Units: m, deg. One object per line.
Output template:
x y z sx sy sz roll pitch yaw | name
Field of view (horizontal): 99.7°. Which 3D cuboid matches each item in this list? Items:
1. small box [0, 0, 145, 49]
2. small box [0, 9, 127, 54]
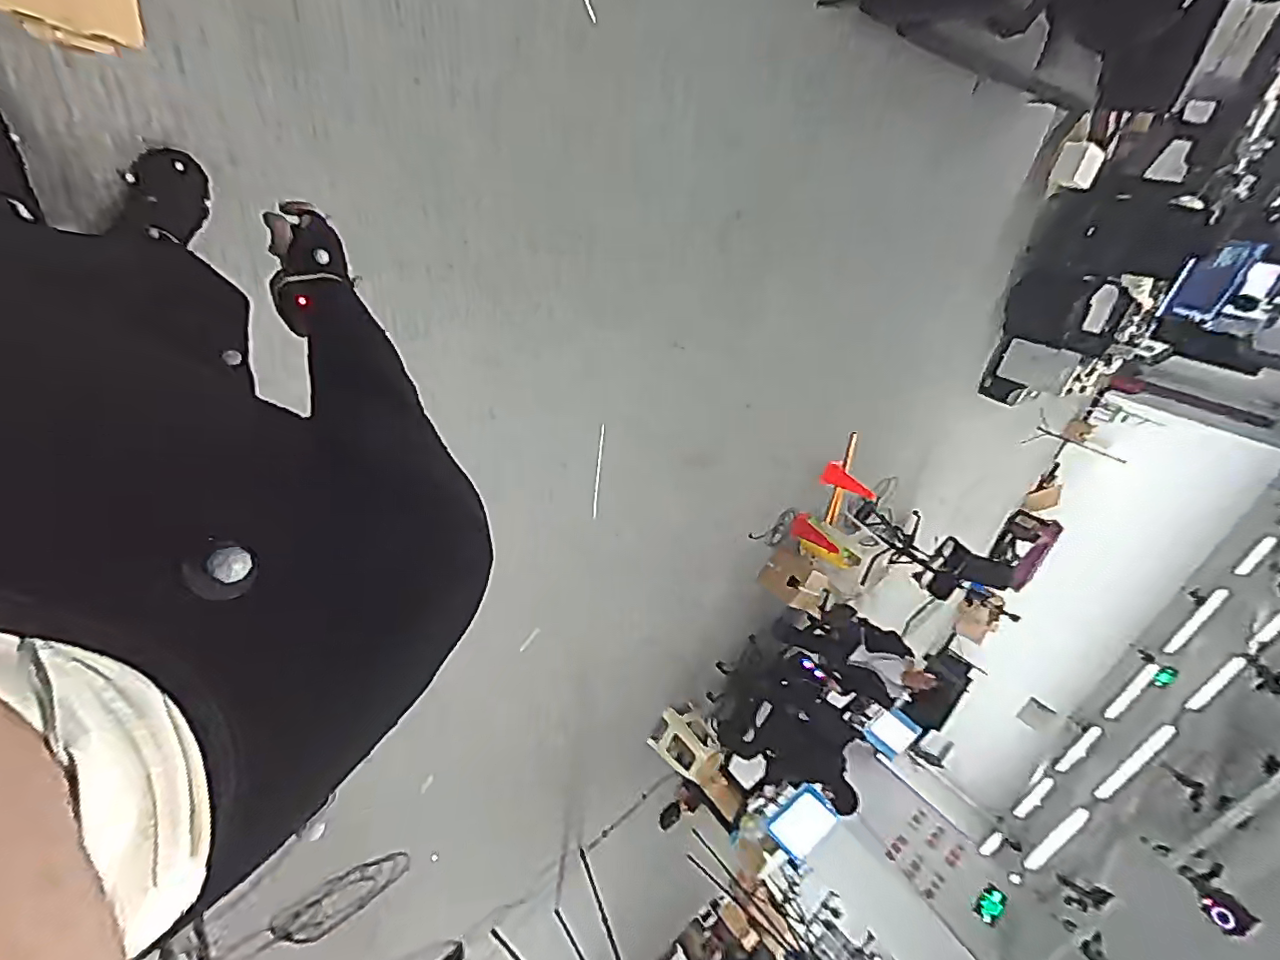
-0.838 -0.752 0.773 0.168 0.176 0.179 -11 127 -41 | small box
-0.945 -0.825 0.870 0.168 0.176 0.179 -3 122 -42 | small box
